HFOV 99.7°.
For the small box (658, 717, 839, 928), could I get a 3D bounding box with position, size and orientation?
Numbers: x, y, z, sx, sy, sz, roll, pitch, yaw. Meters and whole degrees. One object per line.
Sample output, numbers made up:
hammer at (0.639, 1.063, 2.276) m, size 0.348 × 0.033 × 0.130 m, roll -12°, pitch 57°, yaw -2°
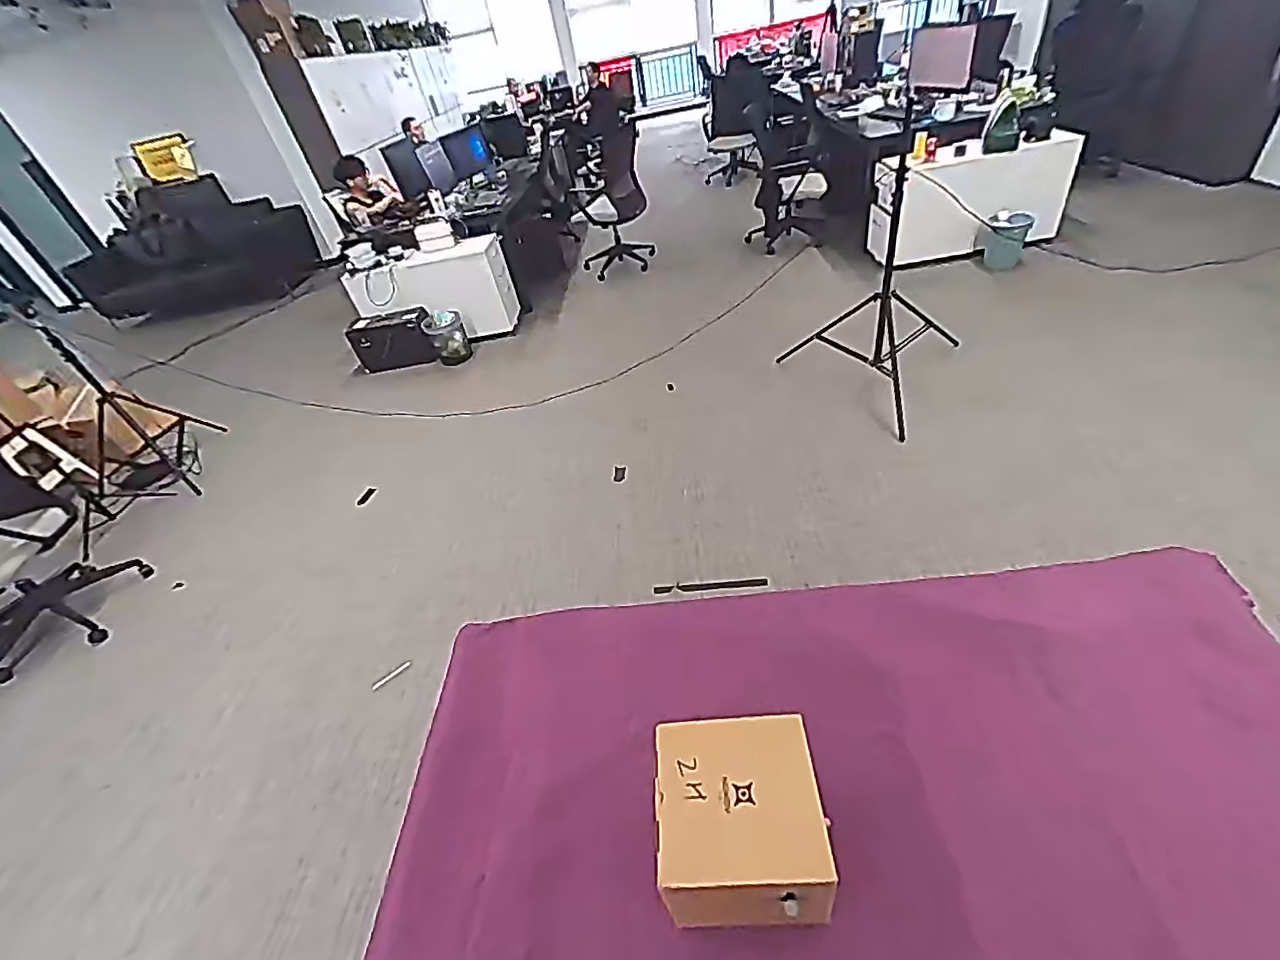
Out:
small box at (0.118, 0.399, 0.631) m, size 0.179 × 0.176 × 0.168 m, roll -7°, pitch 39°, yaw 7°
